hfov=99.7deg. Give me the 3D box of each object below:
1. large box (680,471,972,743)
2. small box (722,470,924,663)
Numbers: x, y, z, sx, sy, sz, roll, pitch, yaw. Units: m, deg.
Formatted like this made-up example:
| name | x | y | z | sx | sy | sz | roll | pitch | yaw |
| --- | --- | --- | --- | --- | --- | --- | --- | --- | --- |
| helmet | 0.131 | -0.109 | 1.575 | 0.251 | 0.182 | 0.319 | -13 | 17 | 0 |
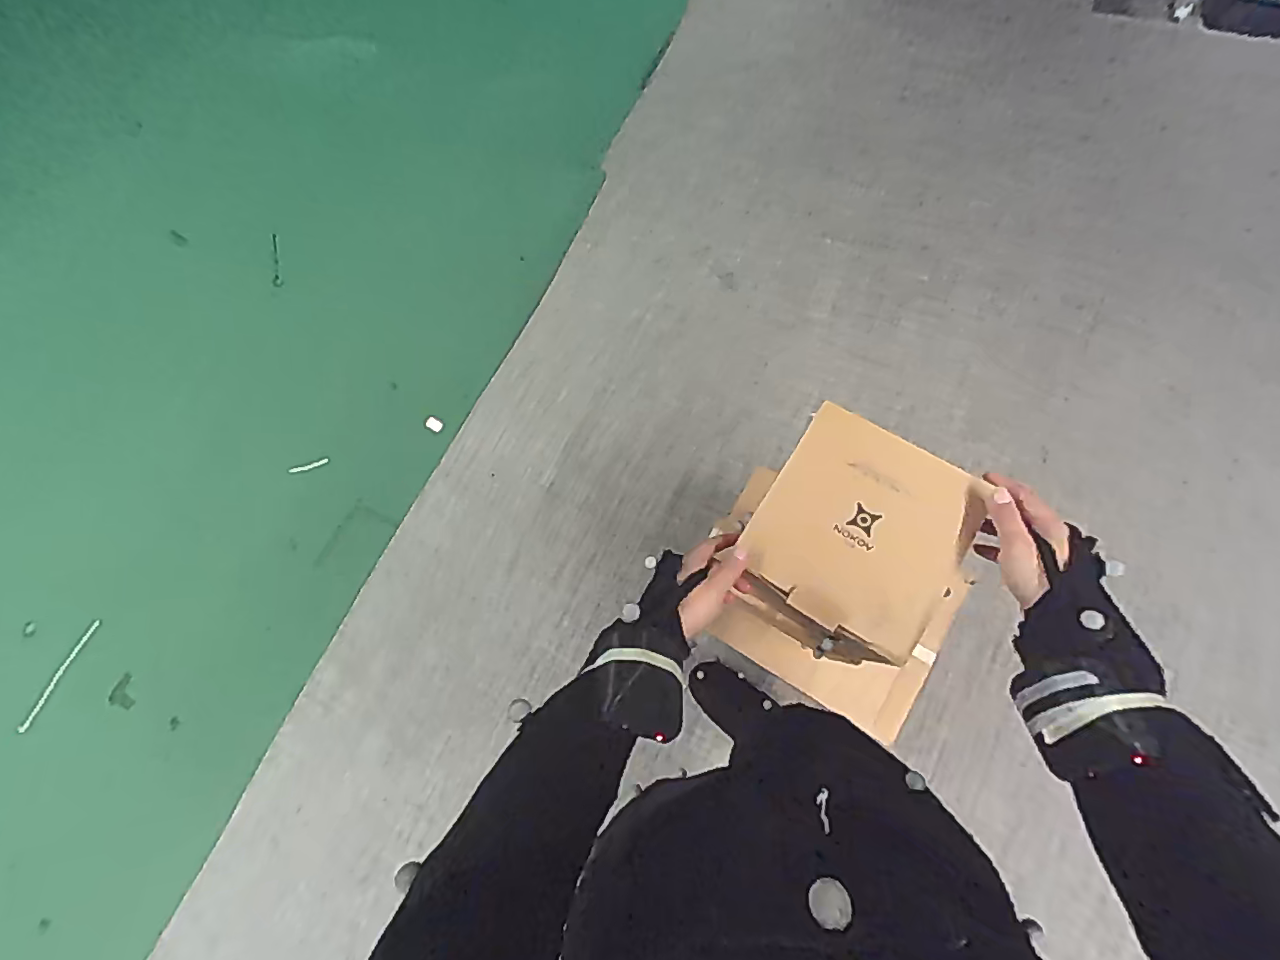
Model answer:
| name | x | y | z | sx | sy | sz | roll | pitch | yaw |
| --- | --- | --- | --- | --- | --- | --- | --- | --- | --- |
| large box | 0.329 | 0.238 | 1.067 | 0.408 | 0.320 | 0.320 | 30 | 81 | 14 |
| small box | 0.217 | 0.116 | 0.692 | 0.179 | 0.176 | 0.168 | 28 | 80 | 14 |
